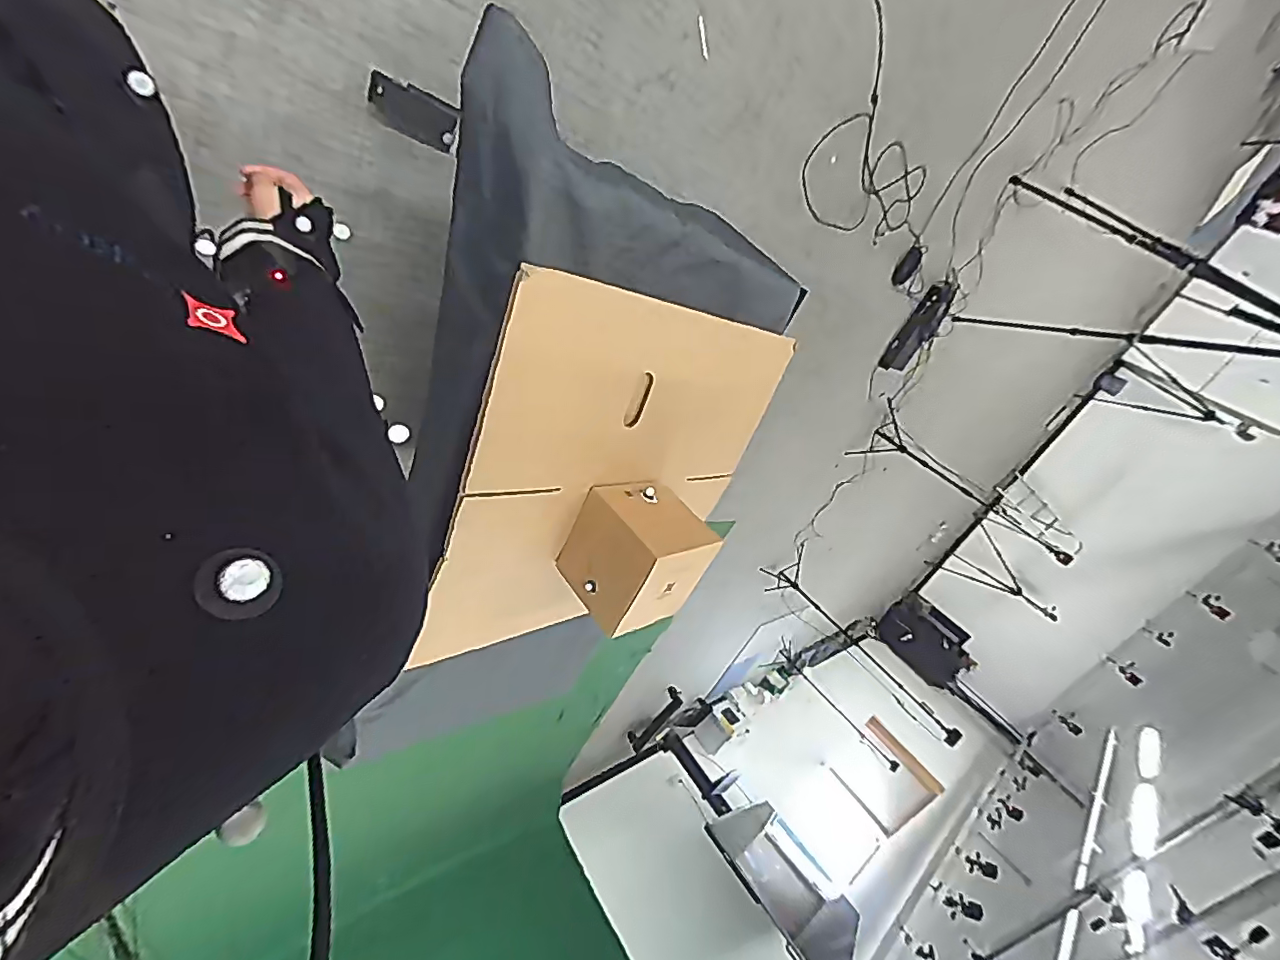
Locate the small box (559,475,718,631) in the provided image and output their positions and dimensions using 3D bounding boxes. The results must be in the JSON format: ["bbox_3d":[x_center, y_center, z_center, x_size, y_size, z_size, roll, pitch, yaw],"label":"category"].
[{"bbox_3d":[-0.011,0.113,0.898,0.168,0.176,0.179,-7,132,-47],"label":"small box"}]
